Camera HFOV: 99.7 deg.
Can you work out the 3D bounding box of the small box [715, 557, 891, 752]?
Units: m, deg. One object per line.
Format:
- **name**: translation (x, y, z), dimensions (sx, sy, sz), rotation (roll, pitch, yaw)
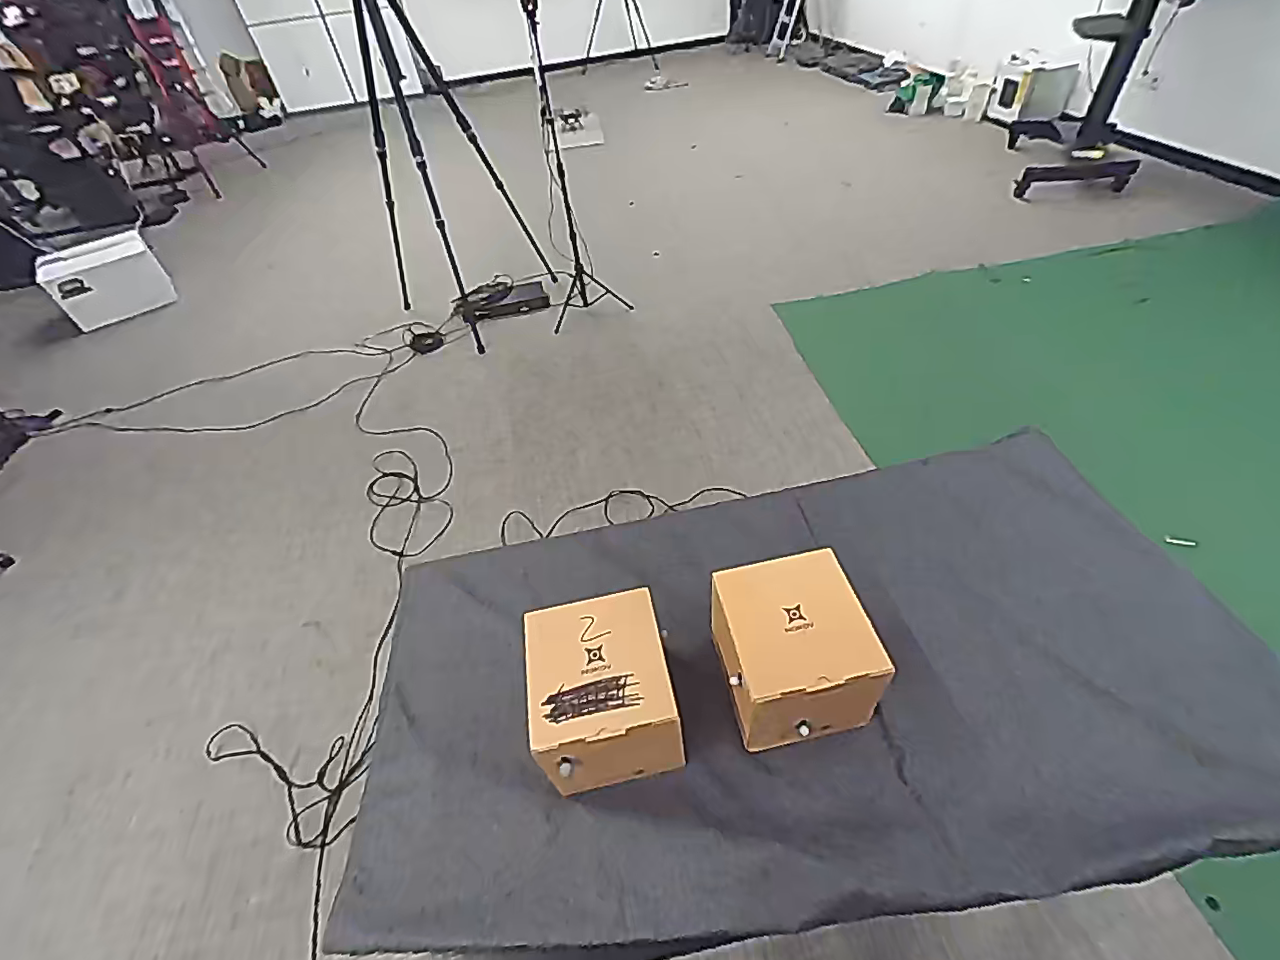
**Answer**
- **small box**: translation (0.200, 0.234, 0.726), dimensions (0.168, 0.176, 0.179), rotation (-12, 47, -3)
